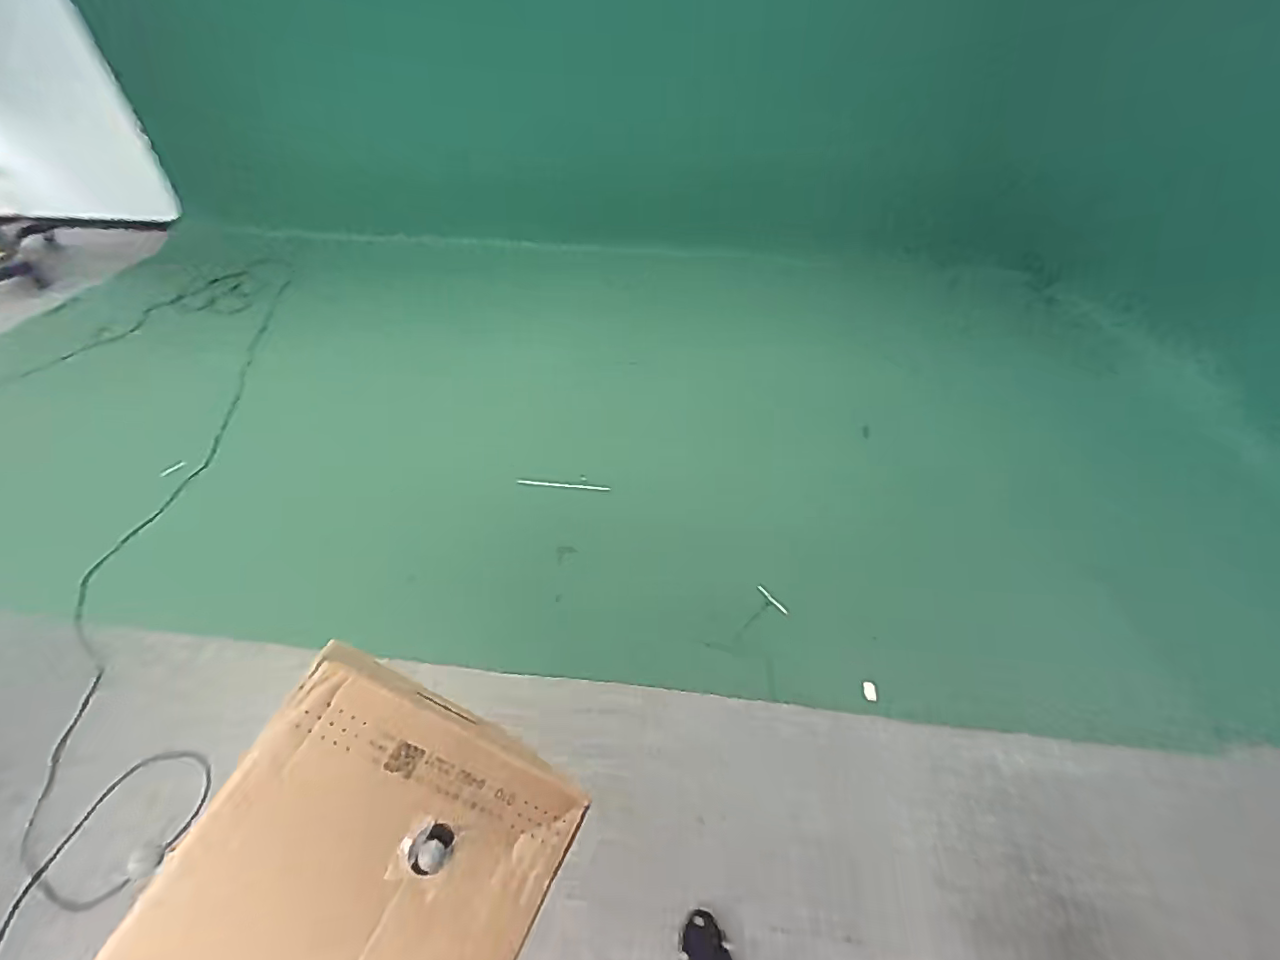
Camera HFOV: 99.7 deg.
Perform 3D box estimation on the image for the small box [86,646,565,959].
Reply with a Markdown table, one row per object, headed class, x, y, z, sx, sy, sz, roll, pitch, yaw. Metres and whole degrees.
| class | x | y | z | sx | sy | sz | roll | pitch | yaw |
| --- | --- | --- | --- | --- | --- | --- | --- | --- | --- |
| small box | -0.170 | 0.216 | 0.328 | 0.168 | 0.179 | 0.176 | 36 | 63 | -15 |
